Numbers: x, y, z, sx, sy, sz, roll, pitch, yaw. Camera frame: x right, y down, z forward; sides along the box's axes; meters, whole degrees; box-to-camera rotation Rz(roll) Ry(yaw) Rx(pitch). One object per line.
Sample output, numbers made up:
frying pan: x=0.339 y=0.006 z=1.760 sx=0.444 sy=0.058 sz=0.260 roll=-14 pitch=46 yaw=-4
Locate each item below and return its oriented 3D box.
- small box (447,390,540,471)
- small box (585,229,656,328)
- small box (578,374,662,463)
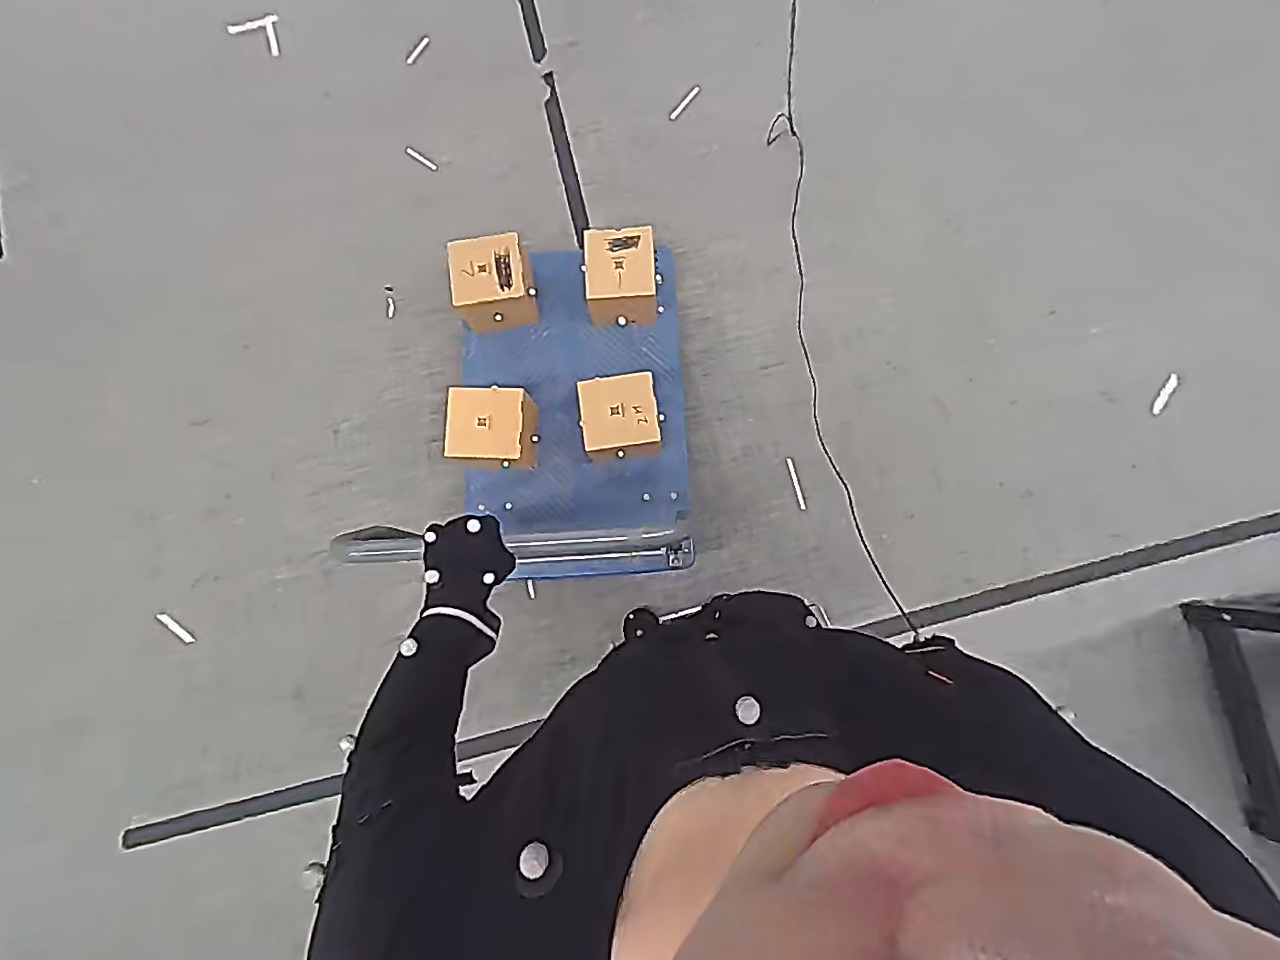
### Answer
small box: x=-0.351 y=-0.114 z=1.317 sx=0.179 sy=0.176 sz=0.168 roll=0 pitch=82 yaw=1
small box: x=-0.046 y=-0.499 z=1.357 sx=0.168 sy=0.176 sz=0.179 roll=-3 pitch=83 yaw=2
small box: x=-0.043 y=-0.141 z=1.307 sx=0.179 sy=0.176 sz=0.168 roll=-8 pitch=82 yaw=1
